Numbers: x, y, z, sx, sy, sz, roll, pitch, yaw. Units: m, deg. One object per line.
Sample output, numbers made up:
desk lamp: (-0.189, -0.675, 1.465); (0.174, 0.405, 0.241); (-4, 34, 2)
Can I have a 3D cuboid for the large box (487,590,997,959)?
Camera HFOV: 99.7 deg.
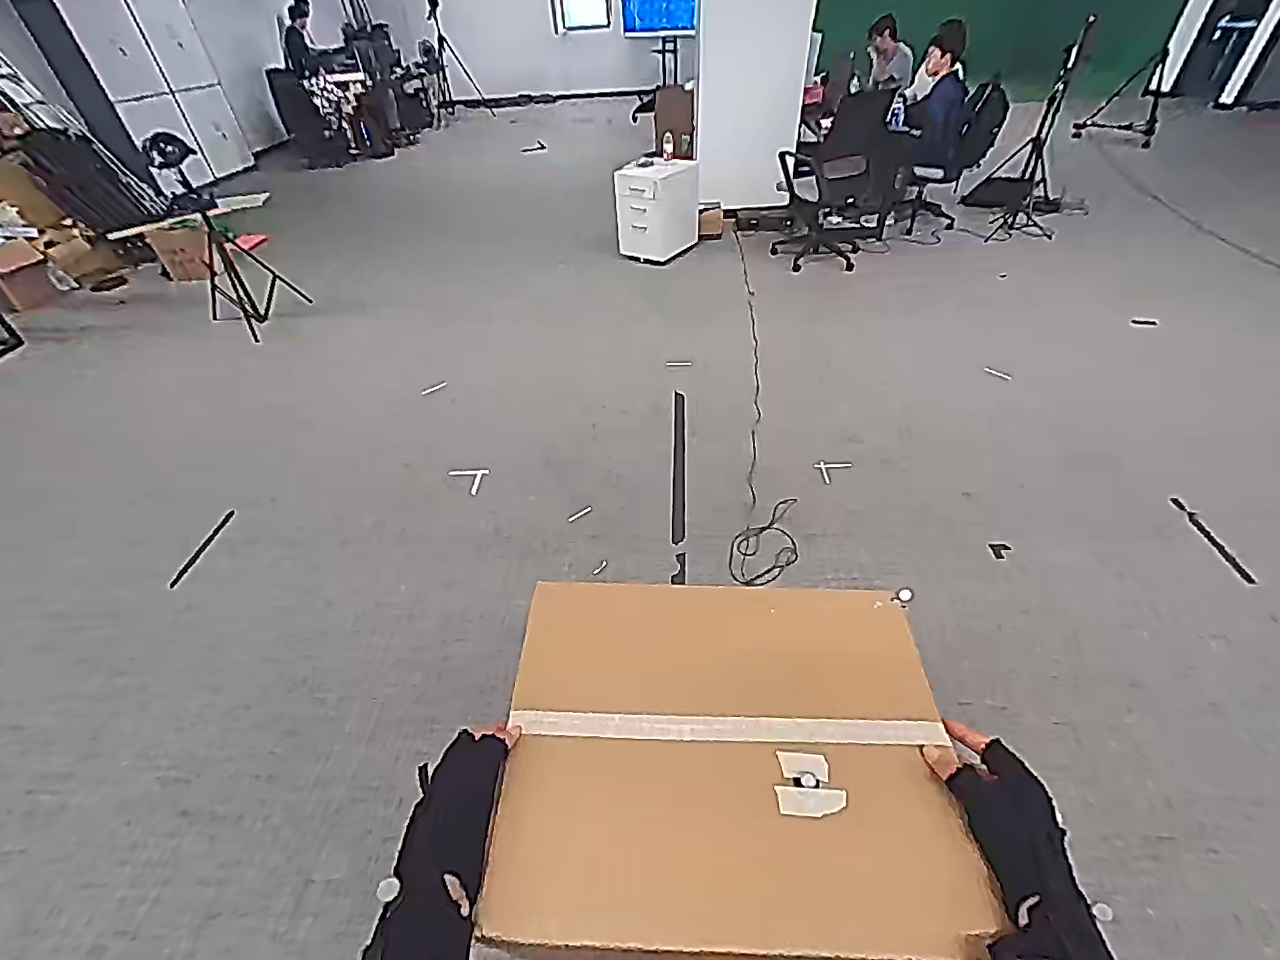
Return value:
large box: (0.080, 0.343, 0.624); (0.408, 0.320, 0.320); (1, 47, 2)
